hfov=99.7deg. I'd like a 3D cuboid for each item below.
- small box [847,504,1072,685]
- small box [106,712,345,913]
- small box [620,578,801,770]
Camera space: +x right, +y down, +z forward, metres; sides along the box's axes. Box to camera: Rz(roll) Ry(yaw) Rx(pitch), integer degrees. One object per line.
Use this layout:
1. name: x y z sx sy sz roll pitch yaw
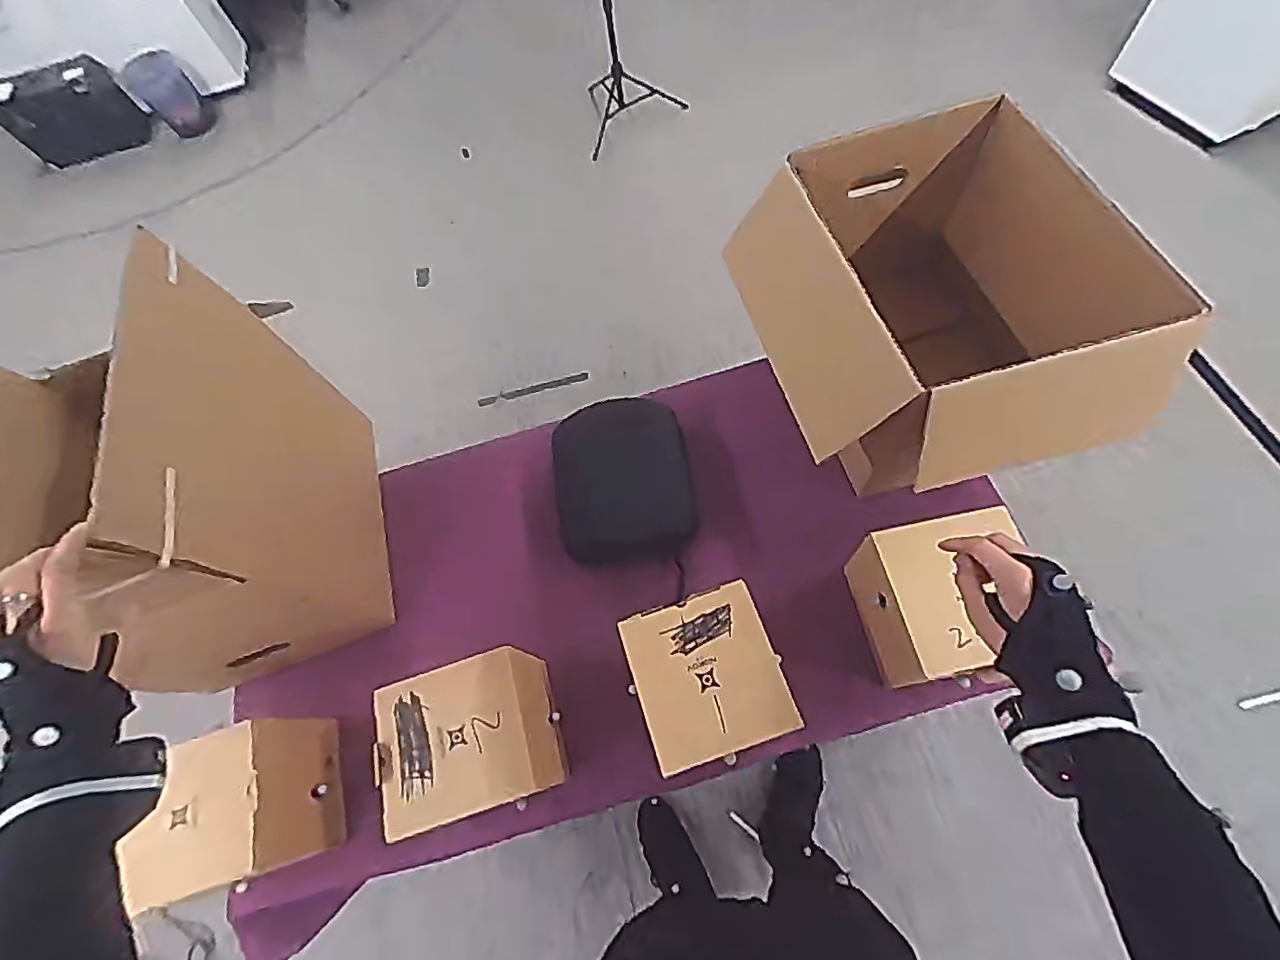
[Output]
1. small box: 0.384 0.153 0.693 0.168 0.176 0.179 -12 65 4
2. small box: -0.521 0.417 0.704 0.179 0.176 0.168 -19 65 -2
3. small box: 0.084 0.250 0.694 0.168 0.176 0.179 -19 66 0
